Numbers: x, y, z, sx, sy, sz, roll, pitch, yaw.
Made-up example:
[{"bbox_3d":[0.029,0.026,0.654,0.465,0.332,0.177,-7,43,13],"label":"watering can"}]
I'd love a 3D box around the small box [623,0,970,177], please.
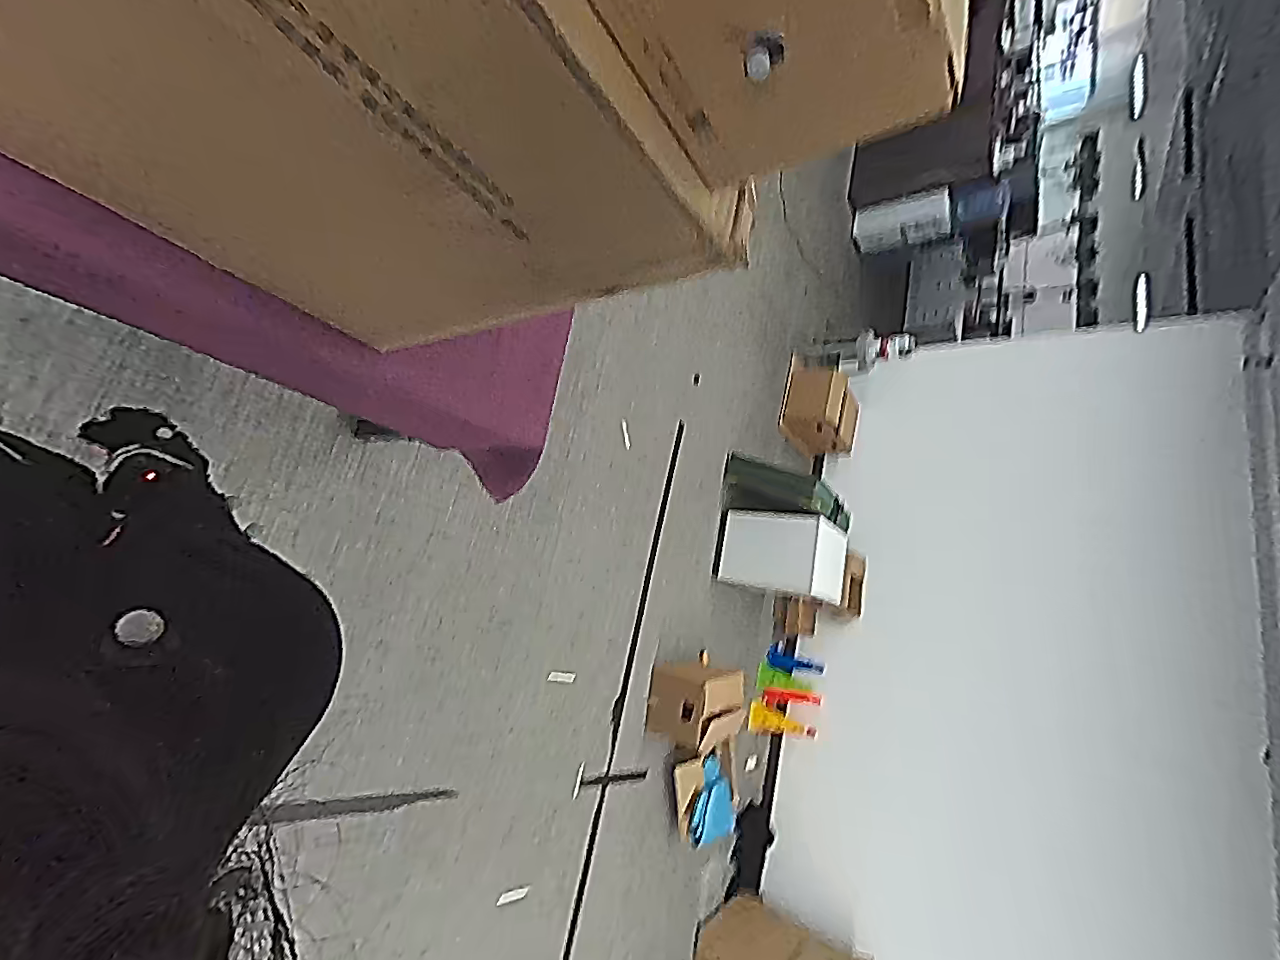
[{"bbox_3d":[0.098,-0.334,0.339,0.168,0.176,0.179,31,67,-49],"label":"small box"}]
